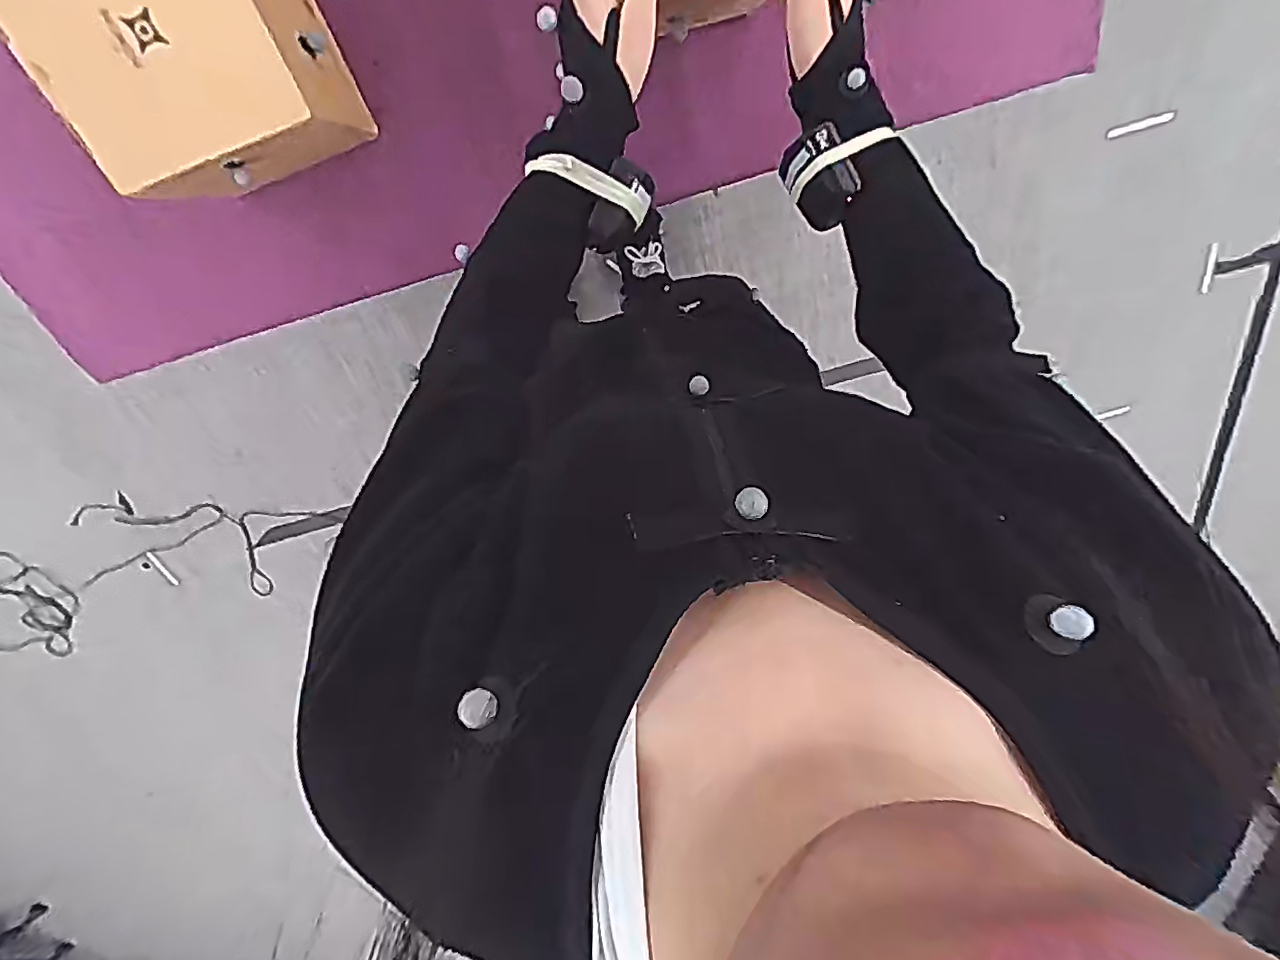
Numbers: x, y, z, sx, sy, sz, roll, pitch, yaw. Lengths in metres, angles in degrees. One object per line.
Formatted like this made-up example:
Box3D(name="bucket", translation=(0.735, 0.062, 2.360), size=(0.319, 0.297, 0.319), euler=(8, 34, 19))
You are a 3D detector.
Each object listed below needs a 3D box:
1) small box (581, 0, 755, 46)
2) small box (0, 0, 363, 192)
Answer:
Box3D(name="small box", translation=(0.021, -0.485, 0.423), size=(0.168, 0.176, 0.179), euler=(-13, 116, 0))
Box3D(name="small box", translation=(-0.366, -0.364, 0.458), size=(0.179, 0.176, 0.168), euler=(-19, 119, 5))
